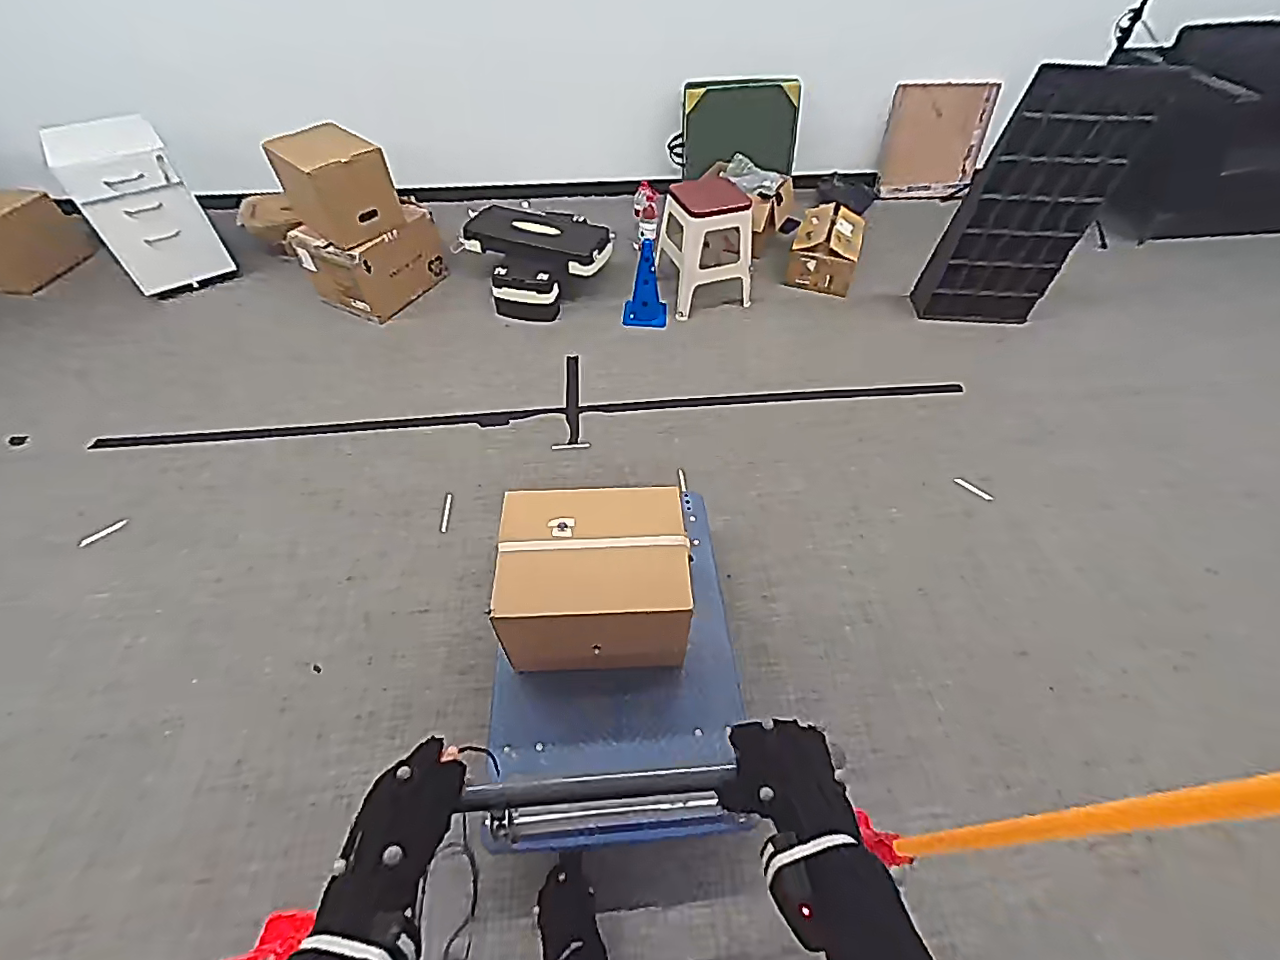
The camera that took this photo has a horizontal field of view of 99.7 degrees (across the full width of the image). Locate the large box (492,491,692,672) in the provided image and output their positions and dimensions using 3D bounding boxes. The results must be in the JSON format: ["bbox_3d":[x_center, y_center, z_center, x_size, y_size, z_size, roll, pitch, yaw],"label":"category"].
[{"bbox_3d":[-0.101,0.246,1.279,0.408,0.320,0.320,-2,51,-2],"label":"large box"}]

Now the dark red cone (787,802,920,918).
[{"bbox_3d":[0.442,0.719,1.053,0.201,0.394,0.202,-2,51,-5],"label":"dark red cone"}]

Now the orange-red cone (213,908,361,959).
[{"bbox_3d":[-0.677,0.869,0.946,0.198,0.360,0.199,3,49,1],"label":"orange-red cone"}]
